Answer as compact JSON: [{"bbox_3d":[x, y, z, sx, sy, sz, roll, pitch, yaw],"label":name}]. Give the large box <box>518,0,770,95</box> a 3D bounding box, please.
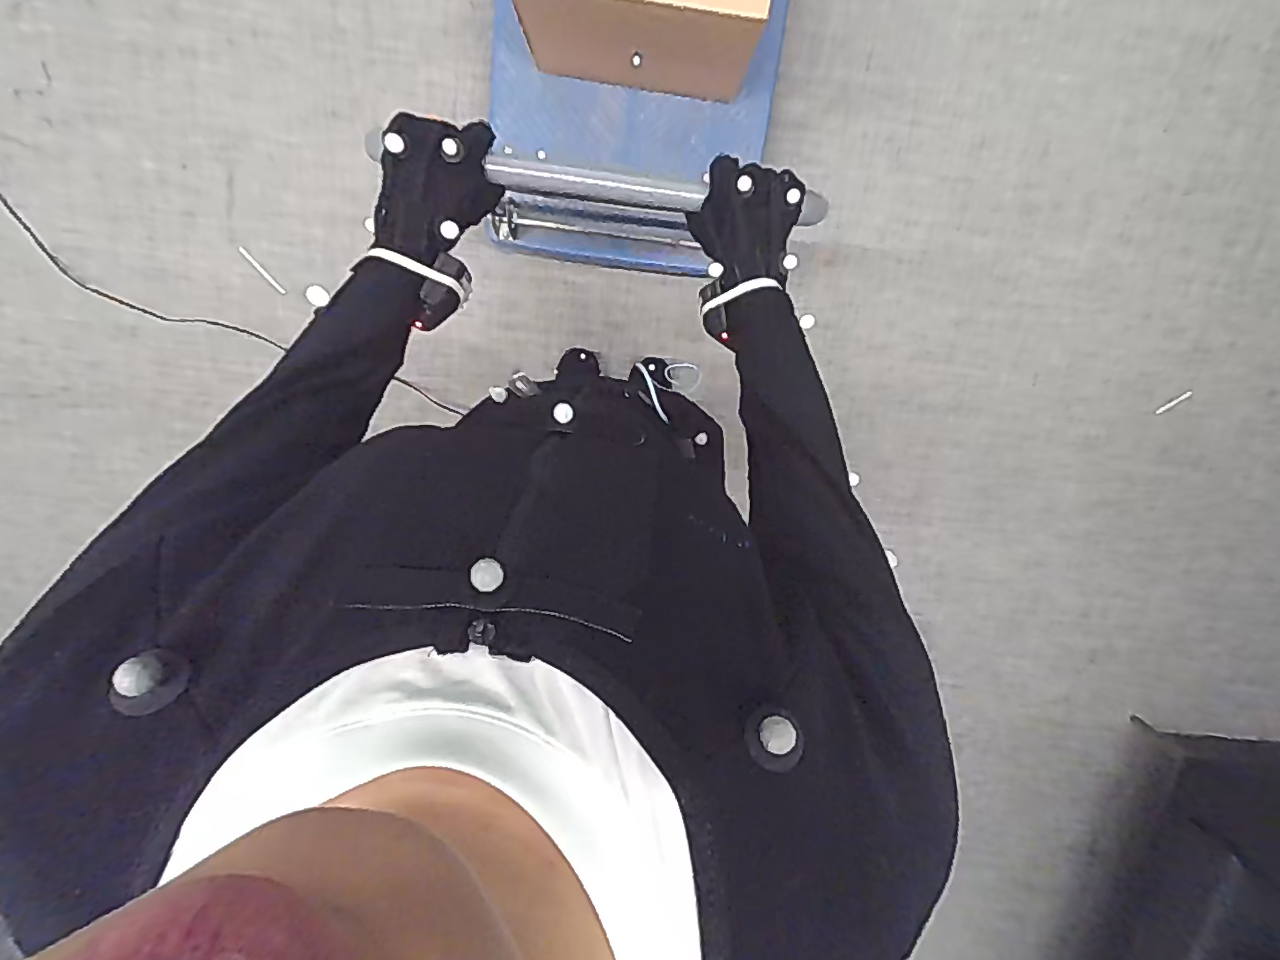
[{"bbox_3d":[0.019,-0.915,0.927,0.408,0.320,0.320,7,104,-2],"label":"large box"}]
